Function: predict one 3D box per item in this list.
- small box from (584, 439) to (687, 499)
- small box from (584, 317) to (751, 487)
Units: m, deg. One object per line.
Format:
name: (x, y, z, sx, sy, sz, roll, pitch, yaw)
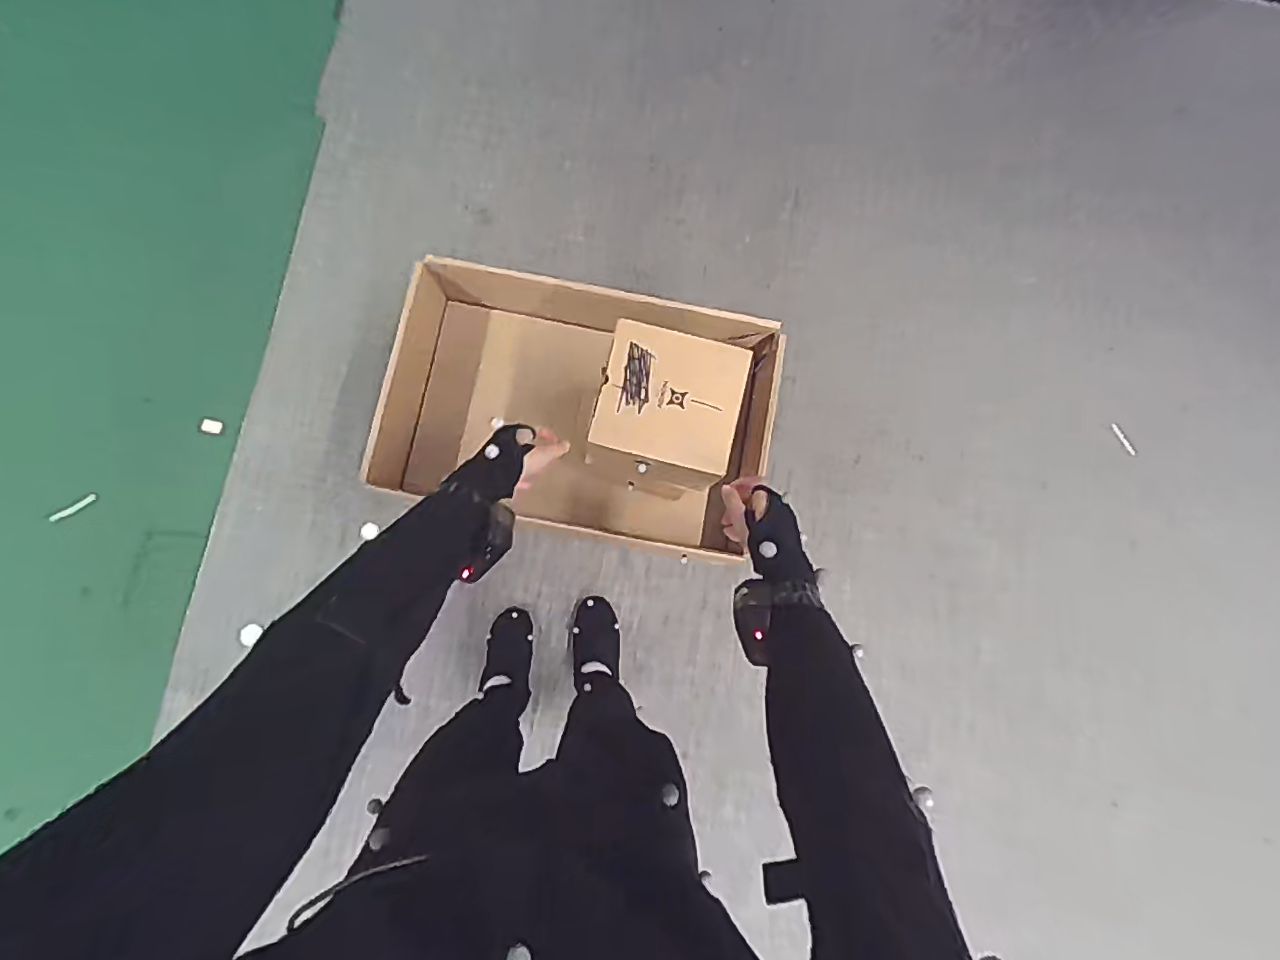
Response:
small box: (0.014, -0.075, 0.903, 0.168, 0.176, 0.179, 16, 81, 0)
small box: (0.032, -0.094, 0.741, 0.179, 0.176, 0.168, 14, 82, 0)
